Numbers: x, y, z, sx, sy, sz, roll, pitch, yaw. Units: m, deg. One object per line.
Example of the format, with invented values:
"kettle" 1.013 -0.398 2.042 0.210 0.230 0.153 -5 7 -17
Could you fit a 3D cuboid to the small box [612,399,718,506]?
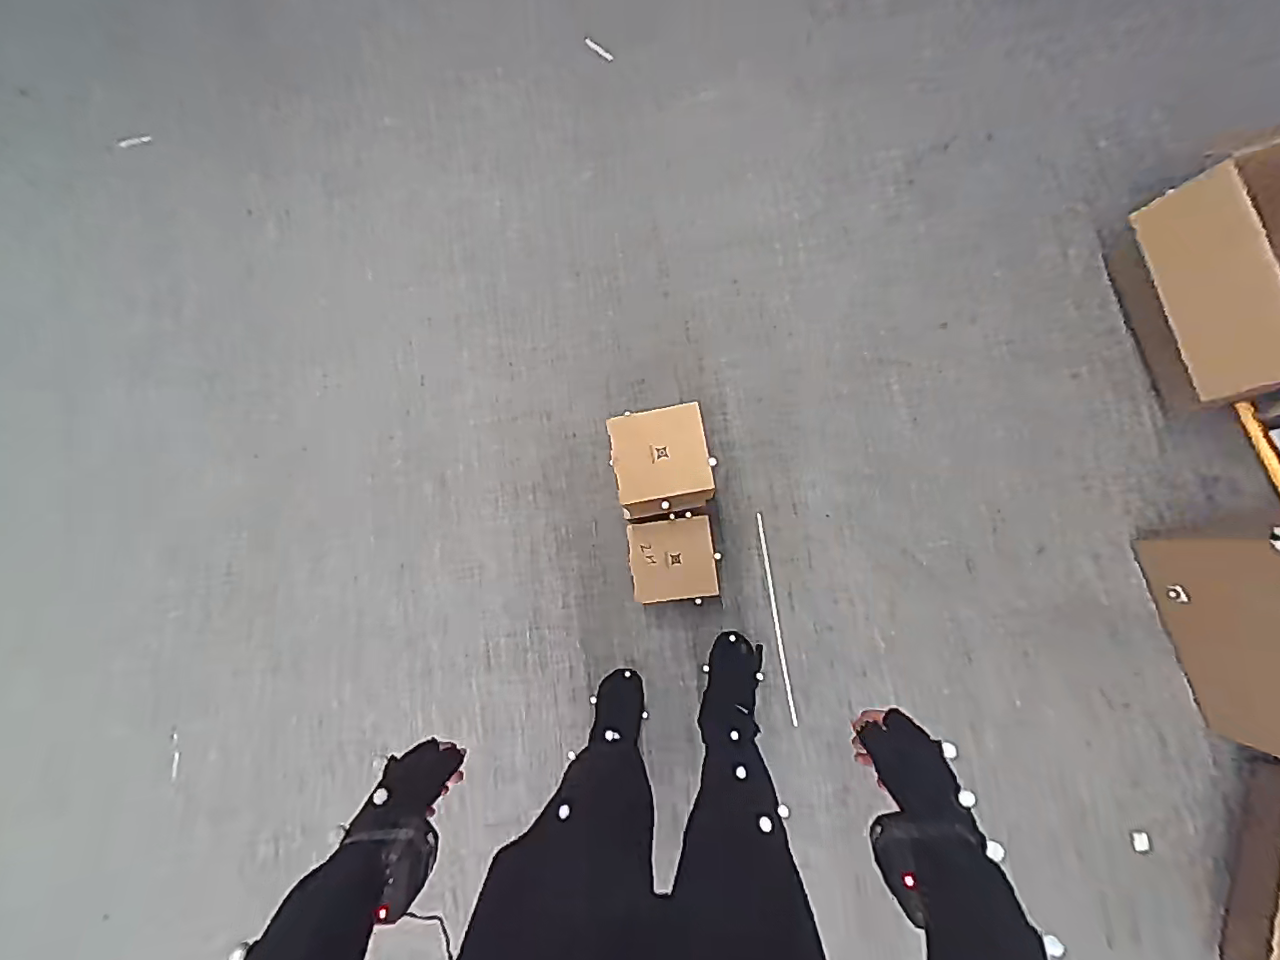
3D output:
"small box" 0.050 -0.046 1.058 0.179 0.176 0.168 -10 82 5
